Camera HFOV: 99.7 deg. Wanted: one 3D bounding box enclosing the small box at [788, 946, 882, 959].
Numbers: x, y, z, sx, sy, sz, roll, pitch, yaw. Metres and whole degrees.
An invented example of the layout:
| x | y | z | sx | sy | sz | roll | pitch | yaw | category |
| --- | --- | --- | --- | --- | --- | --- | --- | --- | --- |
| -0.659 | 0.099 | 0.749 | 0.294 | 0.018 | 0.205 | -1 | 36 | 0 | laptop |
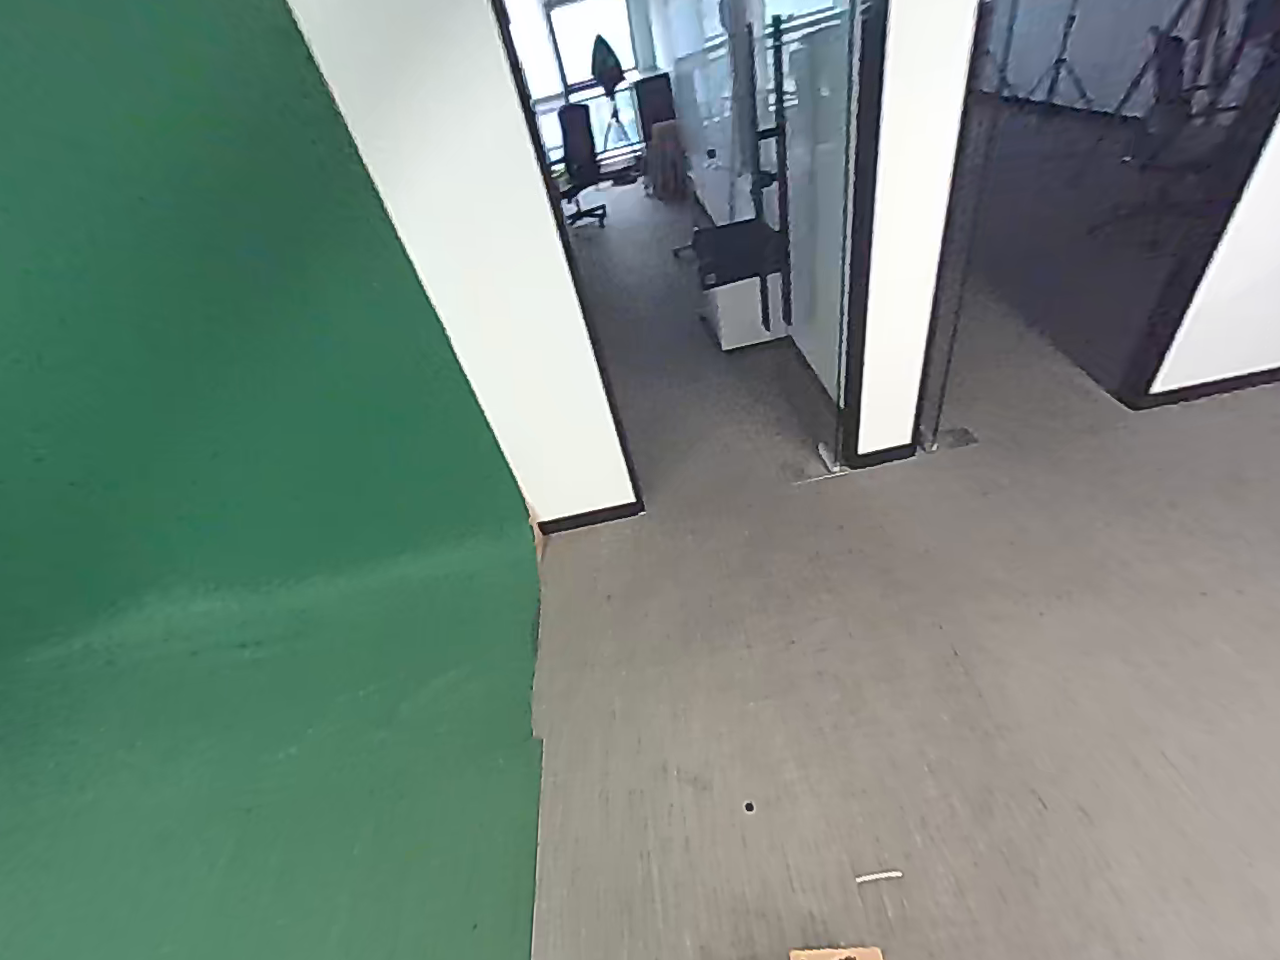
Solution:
| x | y | z | sx | sy | sz | roll | pitch | yaw | category |
| --- | --- | --- | --- | --- | --- | --- | --- | --- | --- |
| 0.372 | 0.979 | 0.989 | 0.168 | 0.176 | 0.179 | -8 | 42 | 8 | small box |
